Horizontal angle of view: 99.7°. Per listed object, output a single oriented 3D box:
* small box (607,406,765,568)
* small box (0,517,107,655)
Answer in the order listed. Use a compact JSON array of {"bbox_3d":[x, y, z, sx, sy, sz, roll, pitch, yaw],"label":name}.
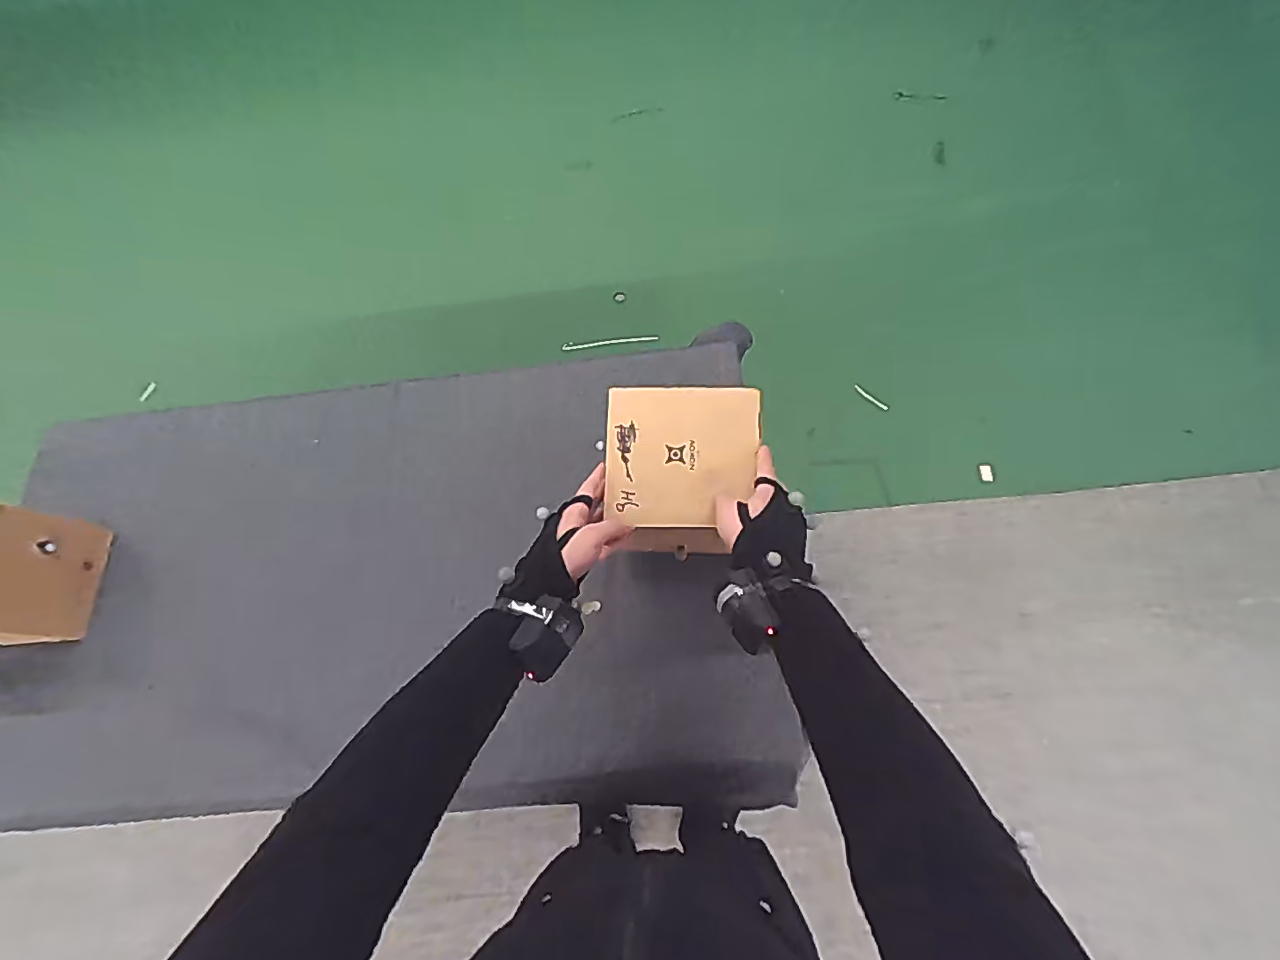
[{"bbox_3d":[0.054,0.017,0.693,0.179,0.176,0.168,1,71,2],"label":"small box"},{"bbox_3d":[-0.918,0.150,0.751,0.179,0.176,0.168,-3,67,4],"label":"small box"}]
